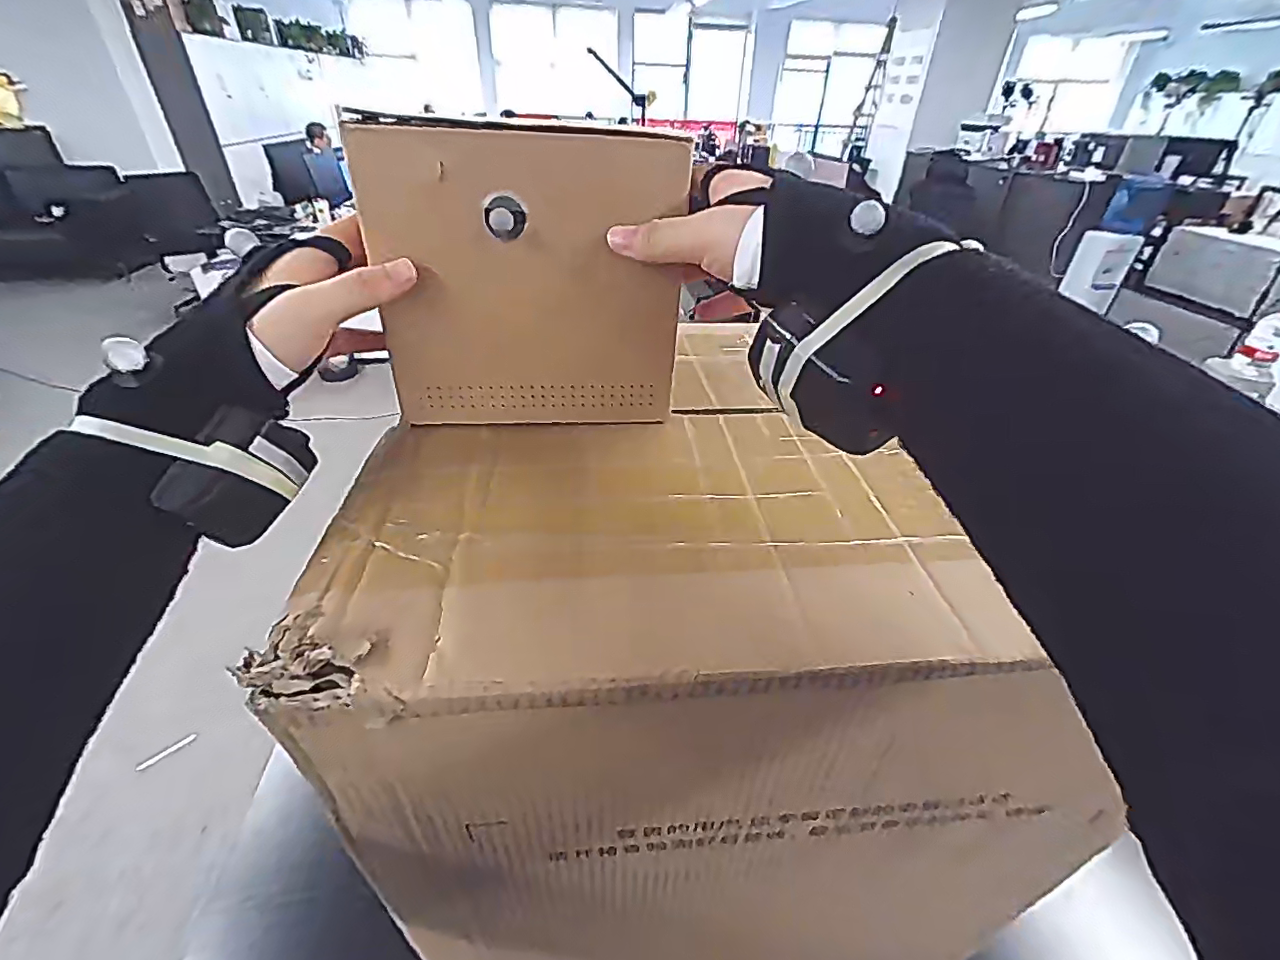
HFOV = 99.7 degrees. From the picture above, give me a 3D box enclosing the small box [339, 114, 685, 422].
[{"bbox_3d":[-0.071,-0.149,0.379,0.179,0.176,0.168,-1,33,-7],"label":"small box"}]
